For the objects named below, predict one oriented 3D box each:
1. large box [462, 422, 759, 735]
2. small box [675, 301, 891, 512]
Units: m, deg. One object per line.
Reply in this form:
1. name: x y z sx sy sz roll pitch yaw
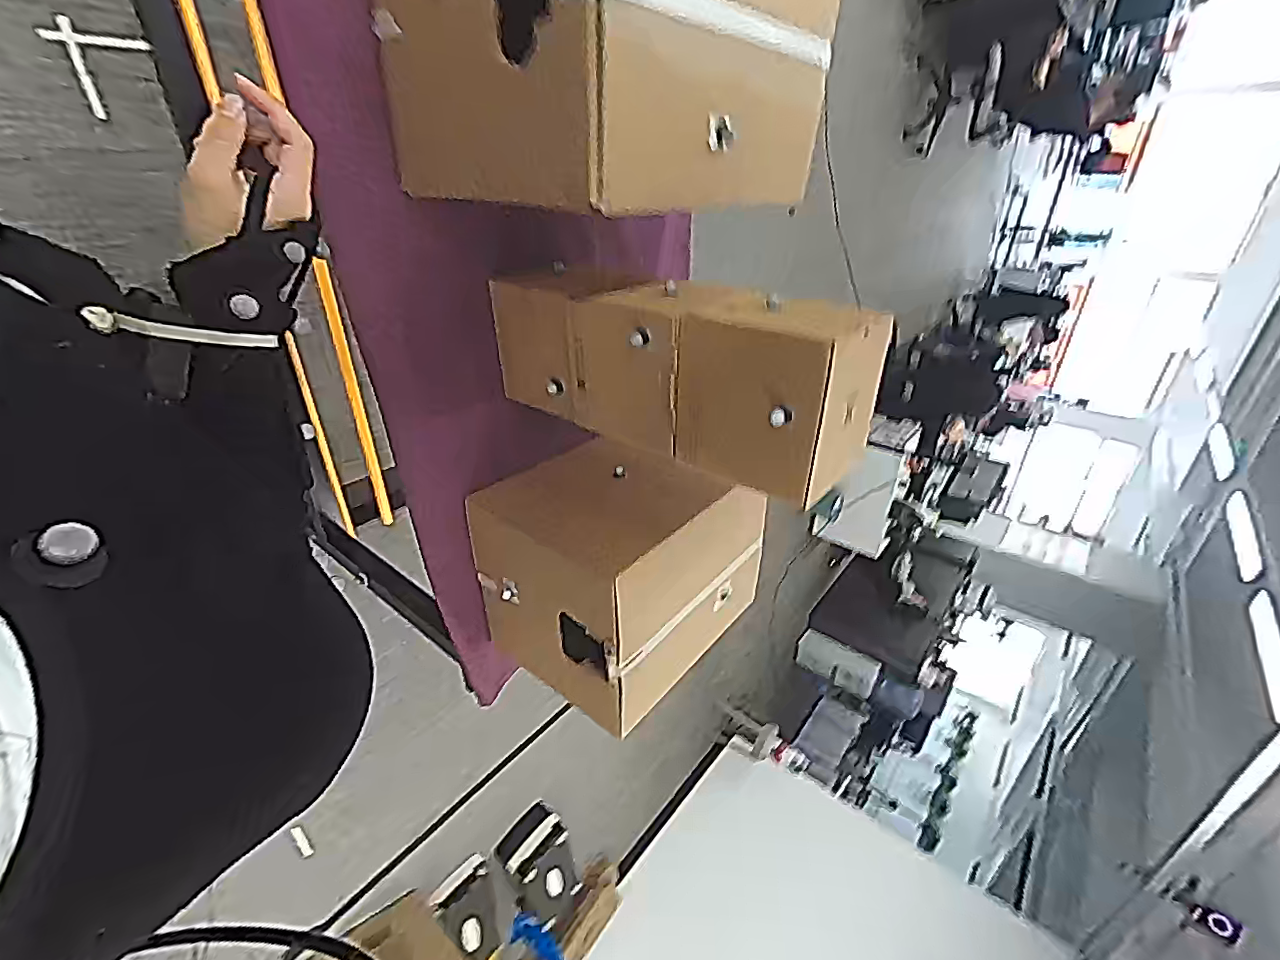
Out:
1. large box: -0.034 0.130 0.944 0.408 0.320 0.320 -31 132 -43
2. small box: 0.153 -0.094 0.611 0.168 0.176 0.179 -29 130 -43
